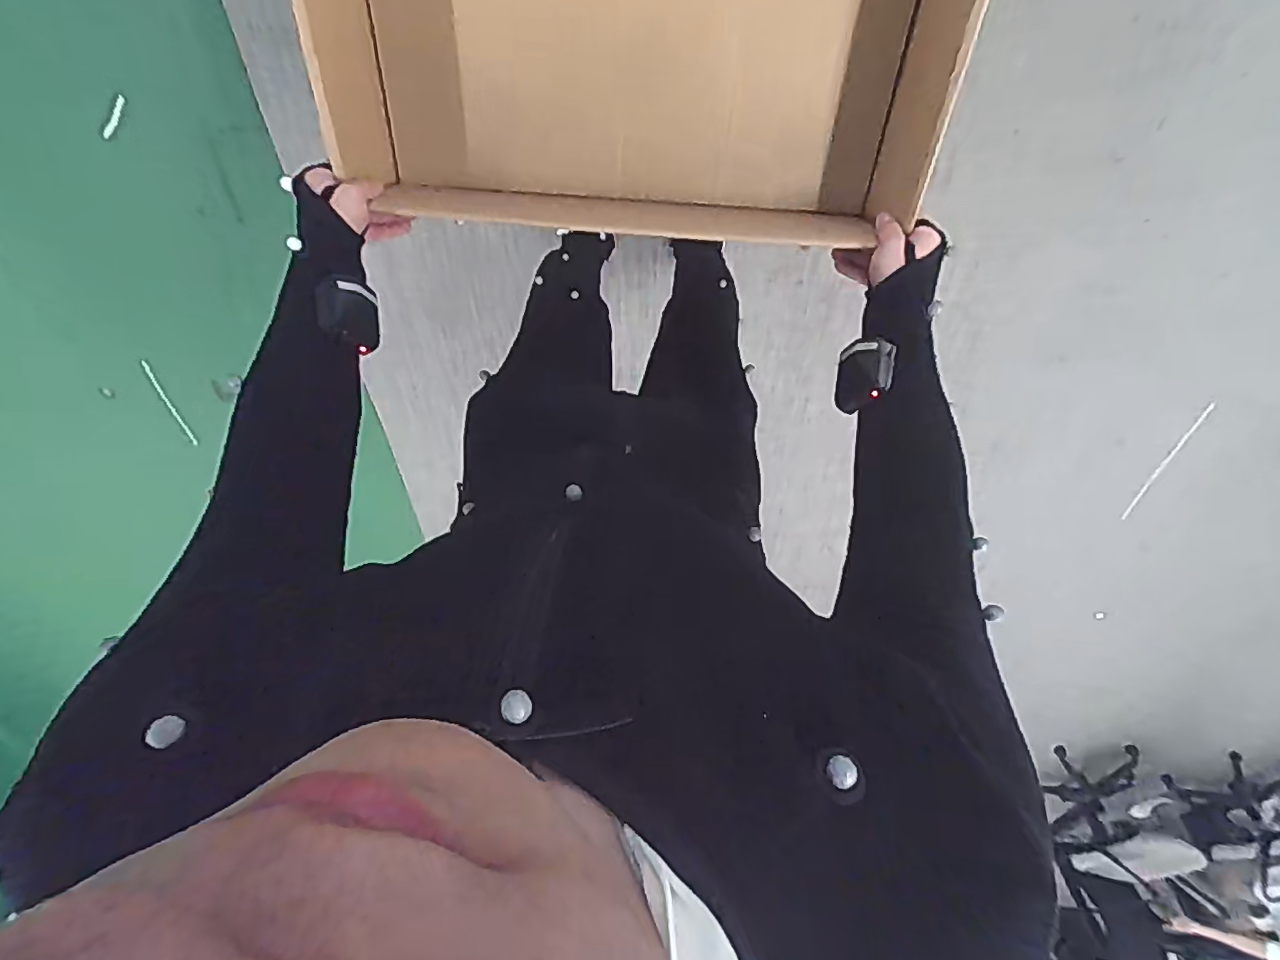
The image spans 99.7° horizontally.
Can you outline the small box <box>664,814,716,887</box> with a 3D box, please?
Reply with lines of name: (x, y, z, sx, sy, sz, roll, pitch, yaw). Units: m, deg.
small box: (0.164, 1.252, 1.829, 0.168, 0.176, 0.179, 0, 132, 3)
